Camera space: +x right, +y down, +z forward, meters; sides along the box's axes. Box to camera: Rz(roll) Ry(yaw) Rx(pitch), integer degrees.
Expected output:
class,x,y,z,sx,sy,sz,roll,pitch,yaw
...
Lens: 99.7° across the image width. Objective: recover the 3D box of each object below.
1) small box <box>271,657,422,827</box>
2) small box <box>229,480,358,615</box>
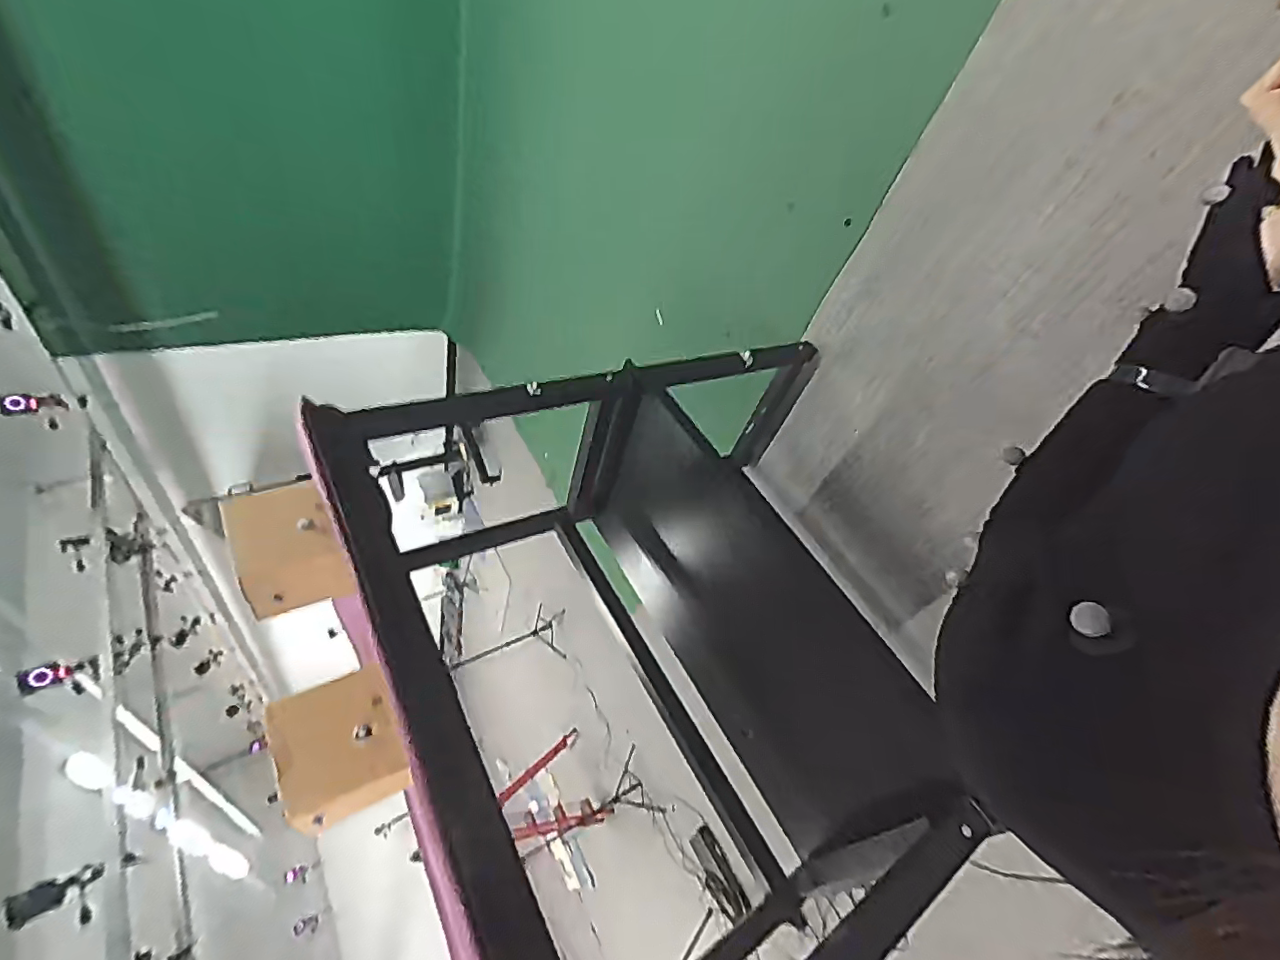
class,x,y,z,sx,sy,sz,roll,pitch,yaw
small box,-0.450,0.408,0.848,0.168,0.176,0.179,57,145,25
small box,-0.646,0.125,1.024,0.168,0.176,0.179,57,144,24
